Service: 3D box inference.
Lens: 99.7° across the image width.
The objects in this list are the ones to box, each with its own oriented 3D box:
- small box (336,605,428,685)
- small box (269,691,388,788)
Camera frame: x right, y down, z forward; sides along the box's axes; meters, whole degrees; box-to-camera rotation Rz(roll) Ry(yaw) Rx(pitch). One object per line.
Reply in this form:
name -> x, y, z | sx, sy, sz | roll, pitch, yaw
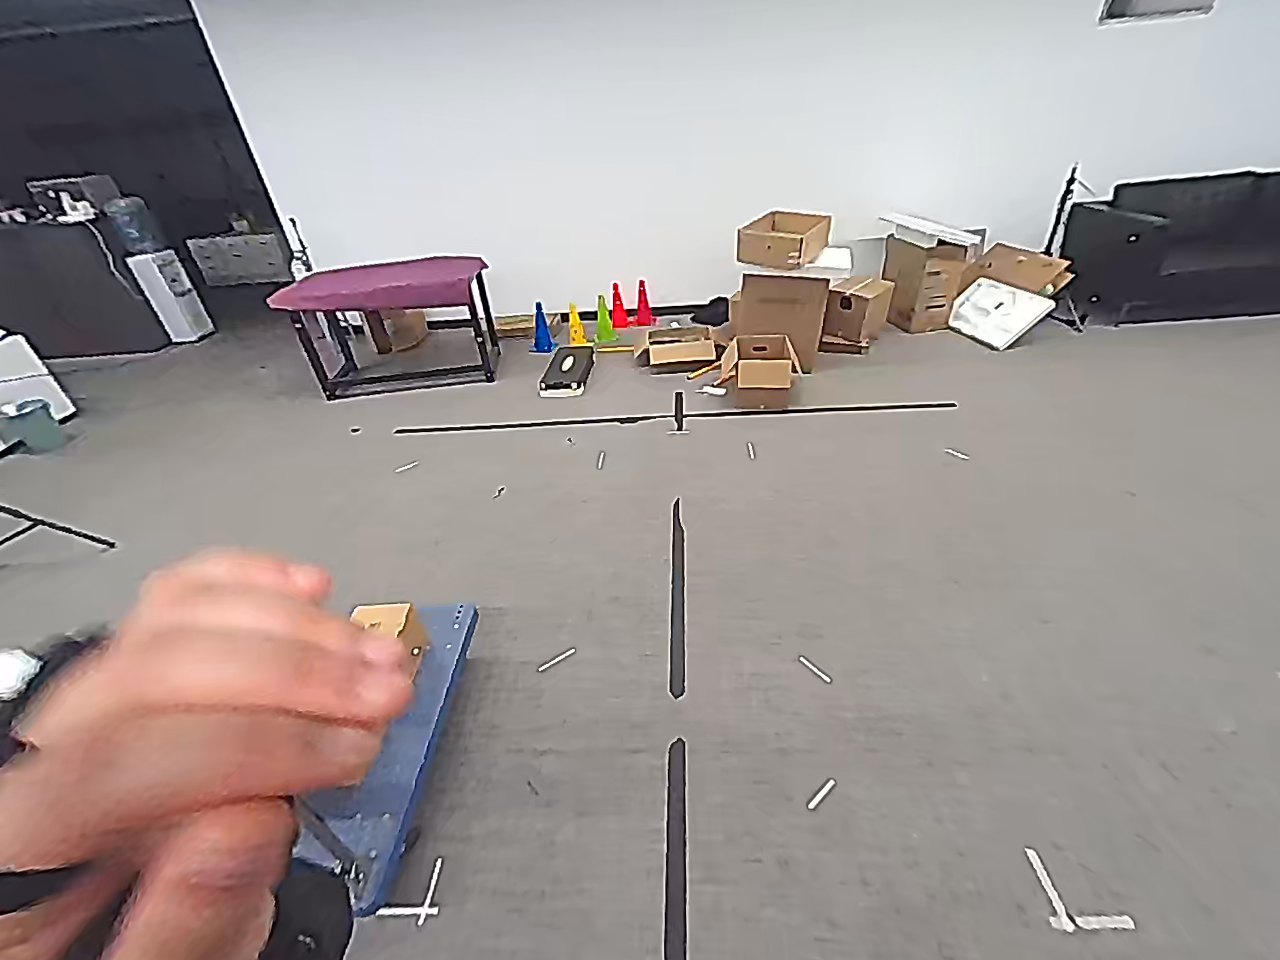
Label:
small box -> -0.768, 0.500, 1.631 | 0.179, 0.176, 0.168 | -4, 34, 1
small box -> -0.788, 0.665, 1.388 | 0.179, 0.176, 0.168 | -1, 35, 6
